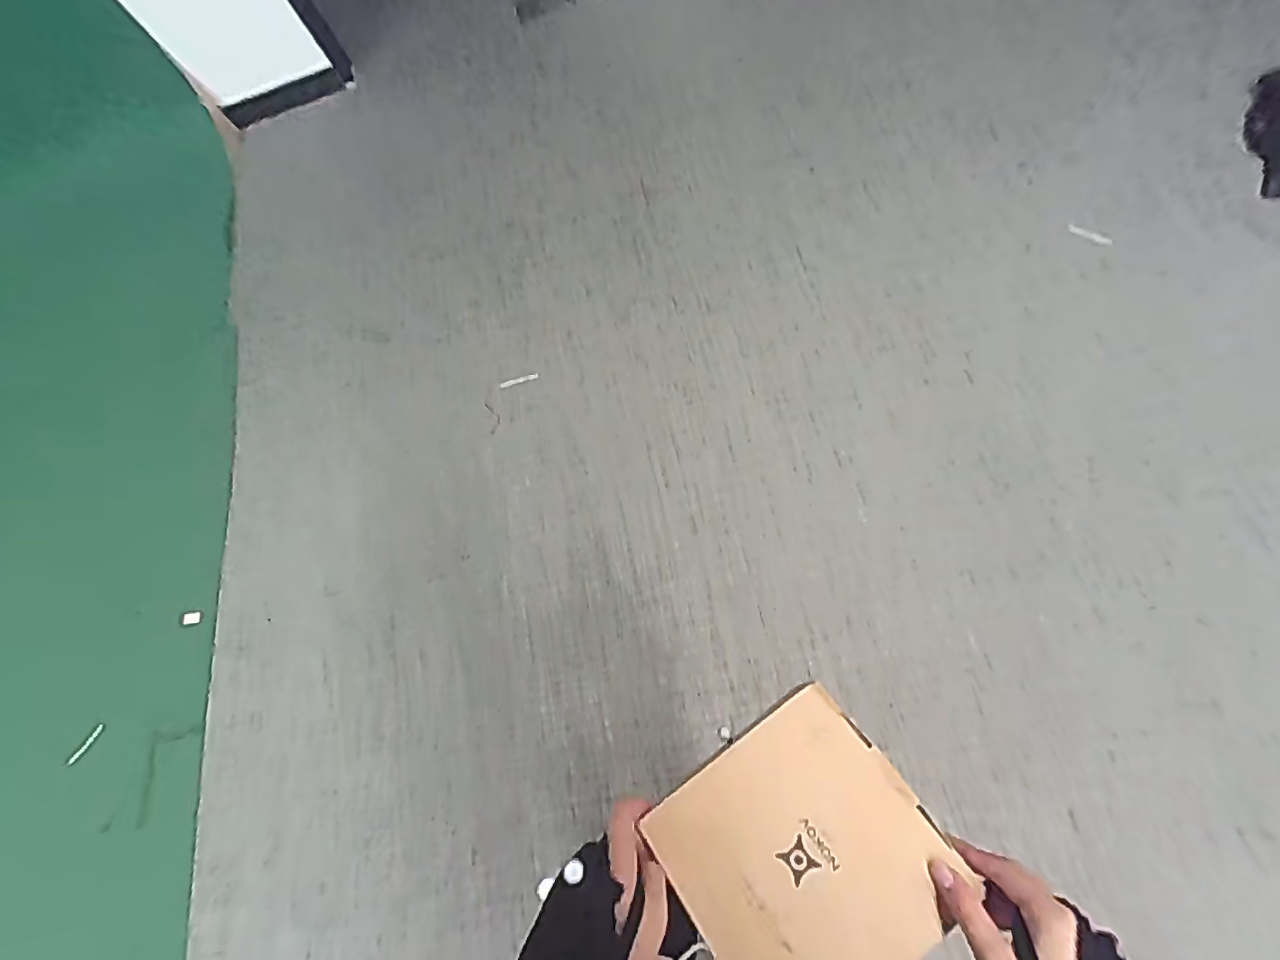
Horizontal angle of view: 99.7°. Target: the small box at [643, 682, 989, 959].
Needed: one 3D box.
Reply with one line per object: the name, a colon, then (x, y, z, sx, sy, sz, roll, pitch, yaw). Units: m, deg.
small box: (0.126, 0.292, 0.445, 0.179, 0.176, 0.168, -37, 65, -7)
